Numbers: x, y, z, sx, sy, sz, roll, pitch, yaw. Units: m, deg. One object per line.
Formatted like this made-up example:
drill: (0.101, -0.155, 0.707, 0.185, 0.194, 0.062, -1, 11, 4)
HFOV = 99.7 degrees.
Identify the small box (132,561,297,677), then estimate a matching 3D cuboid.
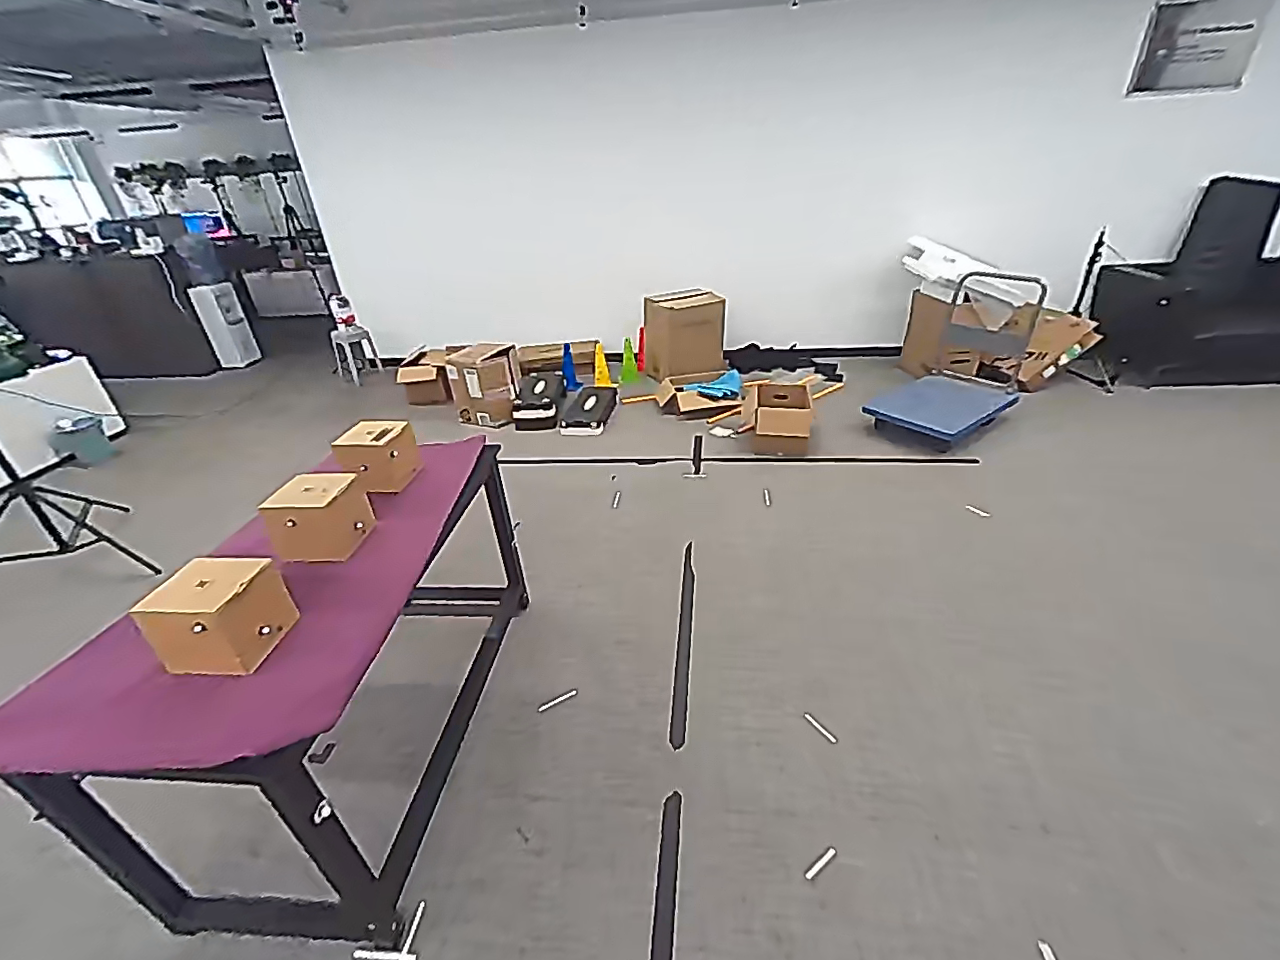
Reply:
small box: (-0.856, 0.283, 1.107, 0.179, 0.176, 0.168, 0, 29, 4)

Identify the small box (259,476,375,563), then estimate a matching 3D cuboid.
small box: (-0.832, 0.104, 1.411, 0.179, 0.176, 0.168, -1, 31, 5)
